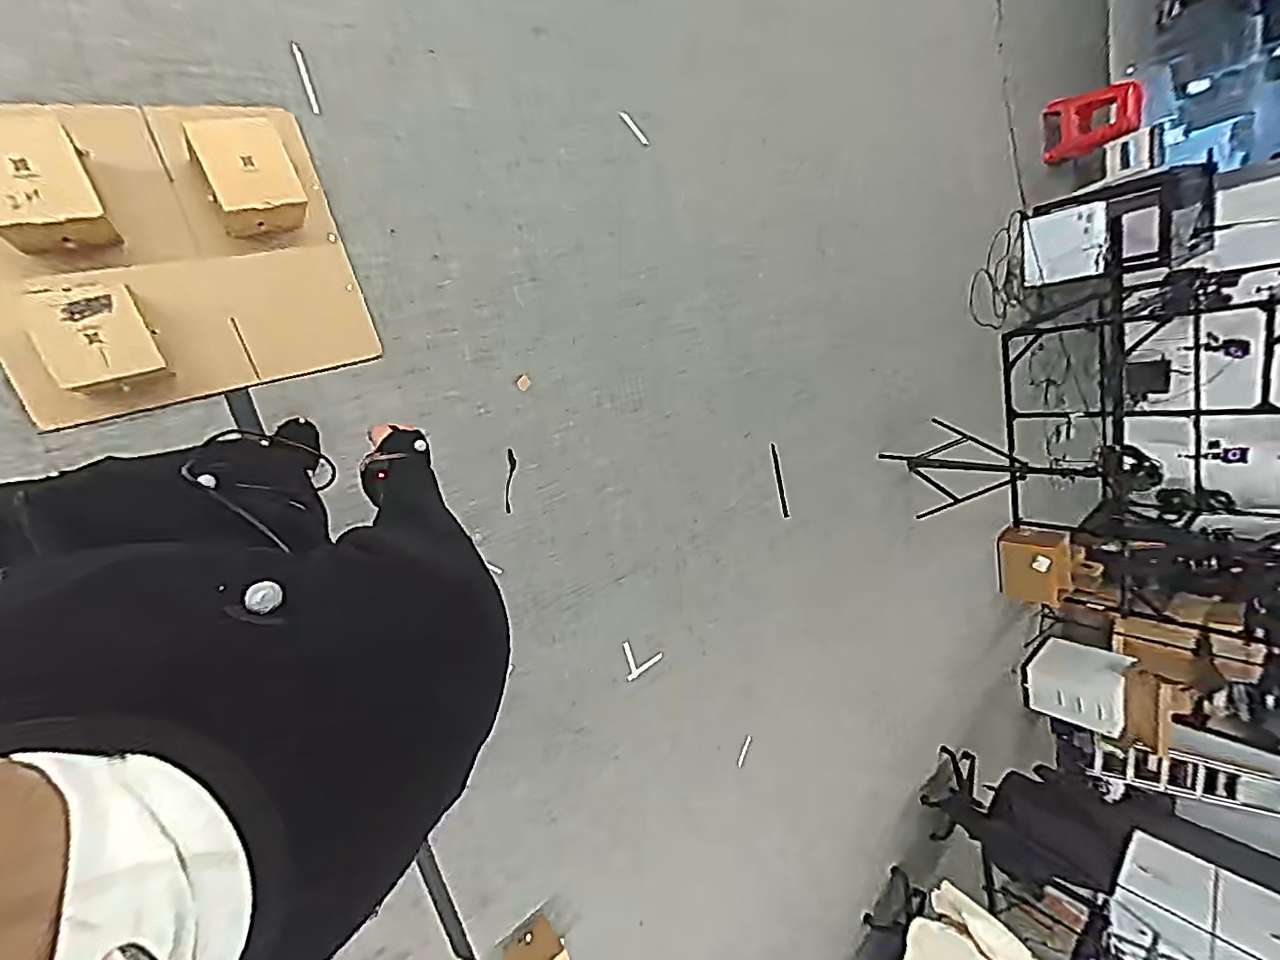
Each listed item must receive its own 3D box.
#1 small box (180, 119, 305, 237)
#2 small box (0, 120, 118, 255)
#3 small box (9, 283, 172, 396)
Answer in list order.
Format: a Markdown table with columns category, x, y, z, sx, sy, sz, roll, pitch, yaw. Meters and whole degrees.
| category | x | y | z | sx | sy | sz | roll | pitch | yaw |
| --- | --- | --- | --- | --- | --- | --- | --- | --- | --- |
| small box | -0.884 | -0.670 | 1.210 | 0.168 | 0.176 | 0.179 | -29 | 110 | -30 |
| small box | -1.146 | -0.549 | 1.024 | 0.168 | 0.176 | 0.179 | -25 | 108 | -31 |
| small box | -1.089 | -0.277 | 1.090 | 0.168 | 0.176 | 0.179 | -26 | 109 | -31 |
